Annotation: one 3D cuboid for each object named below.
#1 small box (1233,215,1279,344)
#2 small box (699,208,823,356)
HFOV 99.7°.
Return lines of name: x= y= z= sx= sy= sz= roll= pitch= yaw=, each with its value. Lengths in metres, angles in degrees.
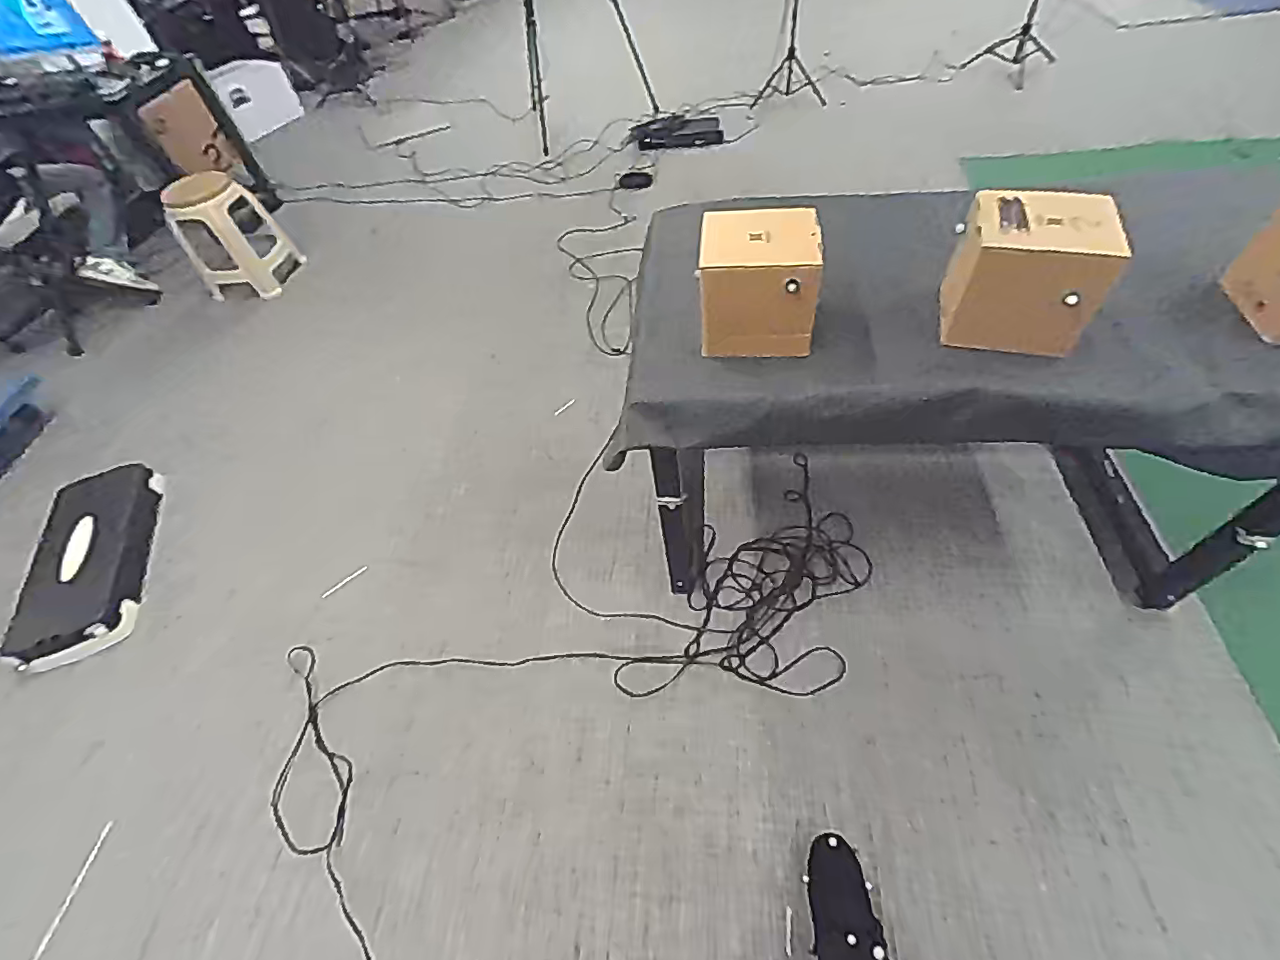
small box: x=0.998 y=-0.296 z=0.748 sx=0.179 sy=0.176 sz=0.168 roll=5 pitch=55 yaw=11
small box: x=0.191 y=-0.318 z=0.880 sx=0.179 sy=0.176 sz=0.168 roll=2 pitch=53 yaw=9
